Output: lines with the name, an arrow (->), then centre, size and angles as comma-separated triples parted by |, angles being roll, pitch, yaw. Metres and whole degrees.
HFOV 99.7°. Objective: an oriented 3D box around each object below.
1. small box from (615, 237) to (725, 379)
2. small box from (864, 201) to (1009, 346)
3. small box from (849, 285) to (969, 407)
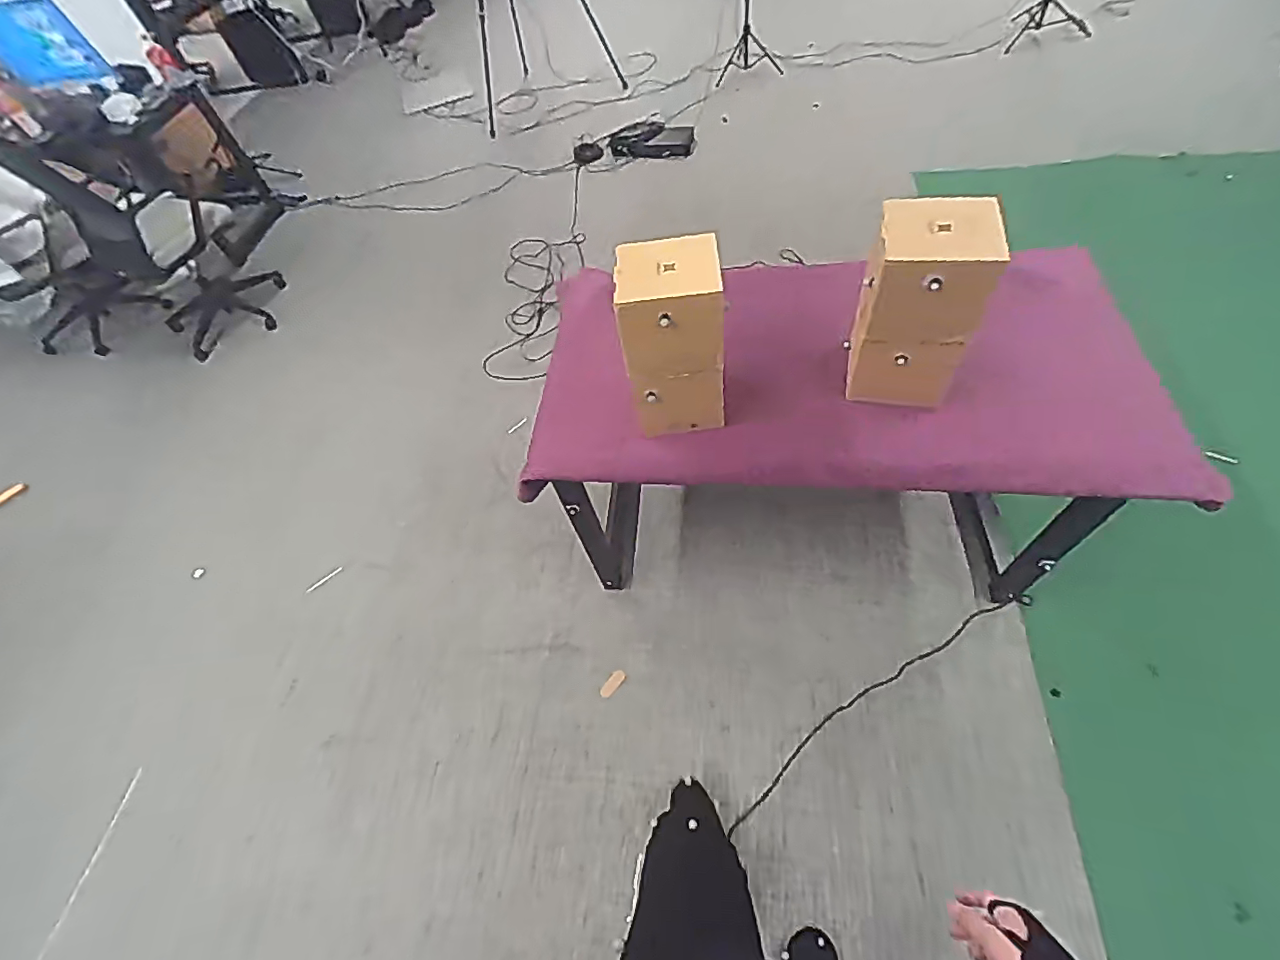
small box -> 0.056, -0.298, 0.957 | 0.179, 0.176, 0.168 | -5, 55, 7
small box -> 0.486, -0.345, 0.915 | 0.179, 0.176, 0.168 | 7, 59, 14
small box -> 0.511, -0.258, 1.051 | 0.179, 0.176, 0.168 | 7, 58, 14
